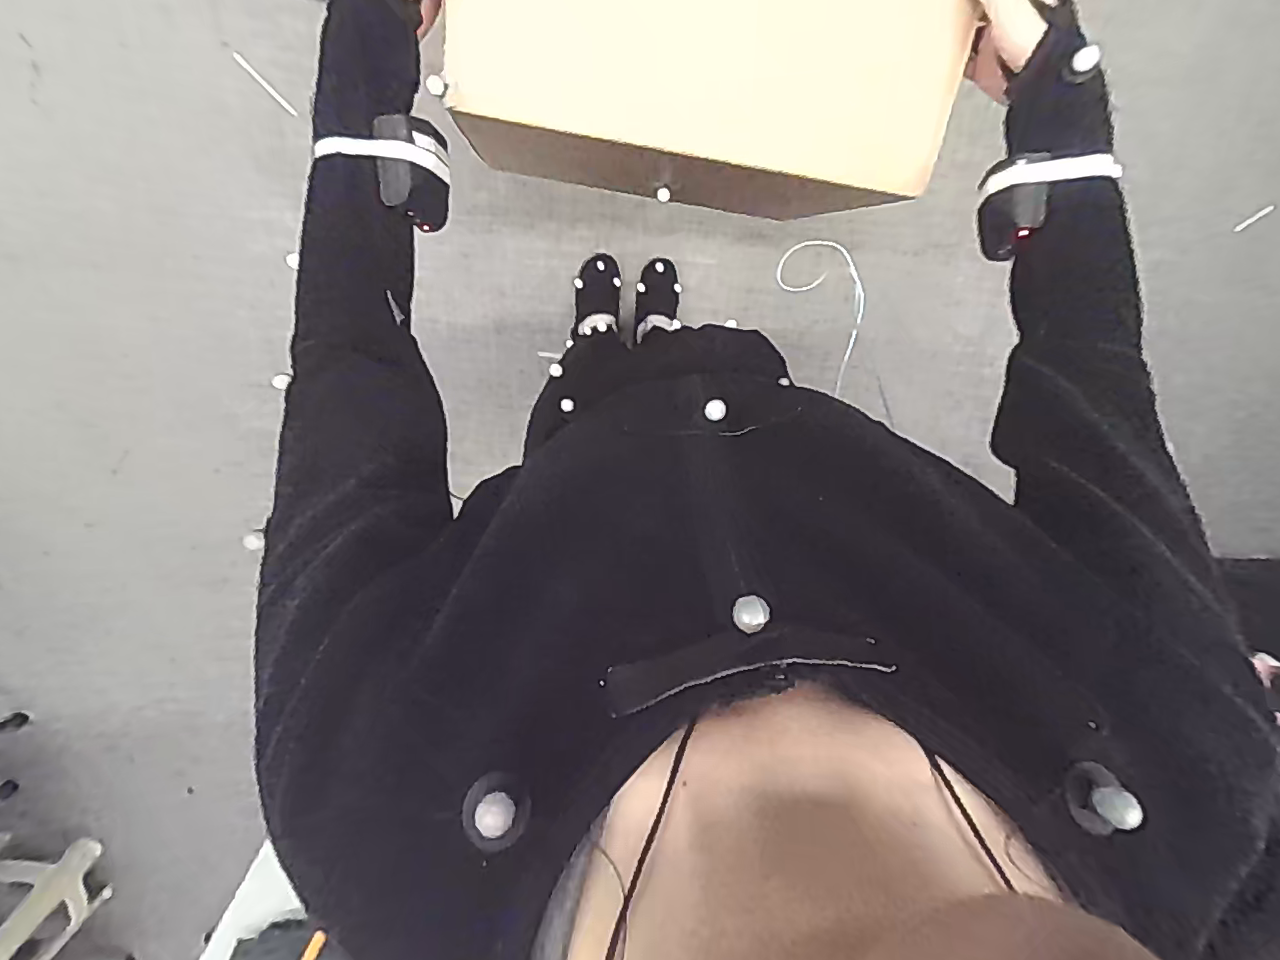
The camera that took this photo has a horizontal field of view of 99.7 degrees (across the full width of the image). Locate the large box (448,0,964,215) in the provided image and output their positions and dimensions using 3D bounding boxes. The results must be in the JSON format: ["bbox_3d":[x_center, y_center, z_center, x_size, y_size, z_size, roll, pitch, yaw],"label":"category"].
[{"bbox_3d":[0.049,-0.462,0.531,0.408,0.320,0.320,5,111,-11],"label":"large box"}]
